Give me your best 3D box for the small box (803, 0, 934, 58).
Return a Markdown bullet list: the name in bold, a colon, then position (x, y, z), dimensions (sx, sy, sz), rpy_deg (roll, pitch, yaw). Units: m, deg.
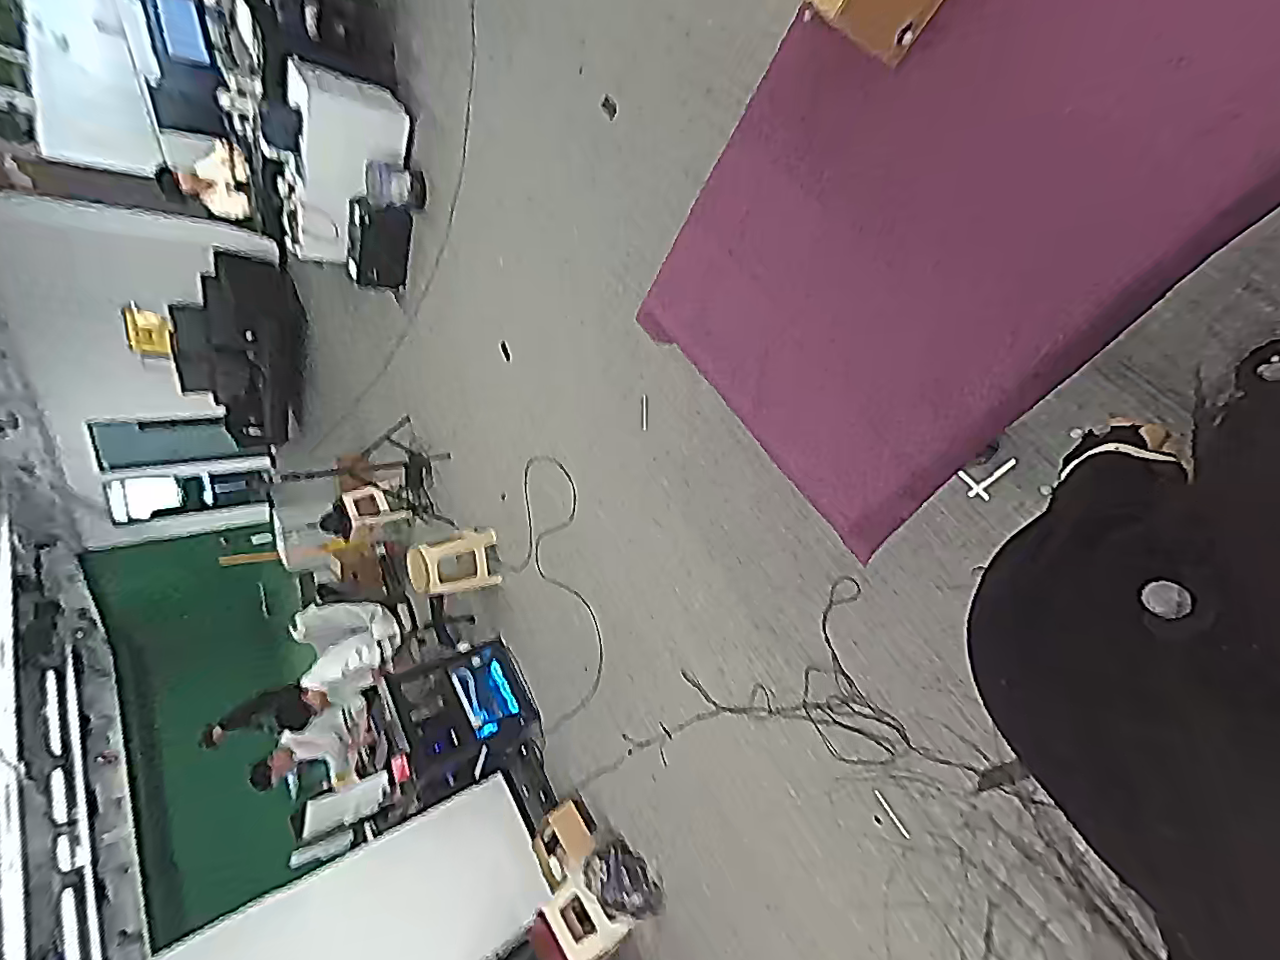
- **small box**: position (0.273, -0.647, 0.641), dimensions (0.179, 0.176, 0.168), rpy_deg (58, 134, 21)
